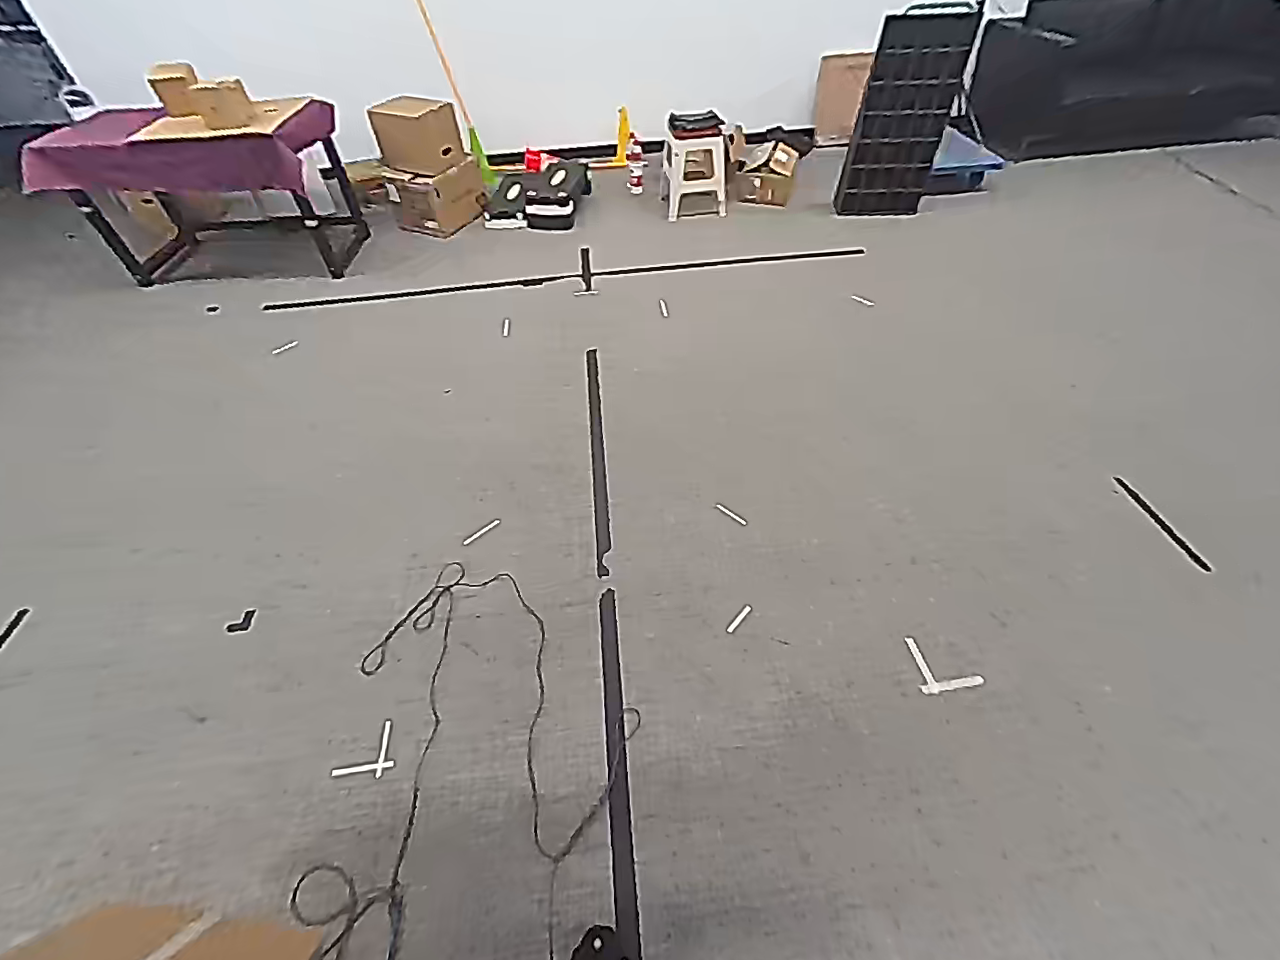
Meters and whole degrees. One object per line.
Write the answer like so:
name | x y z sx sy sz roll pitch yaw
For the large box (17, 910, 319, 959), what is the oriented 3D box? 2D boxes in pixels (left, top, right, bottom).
large box | -0.614 0.725 0.559 0.320 0.408 0.320 12 68 -6
